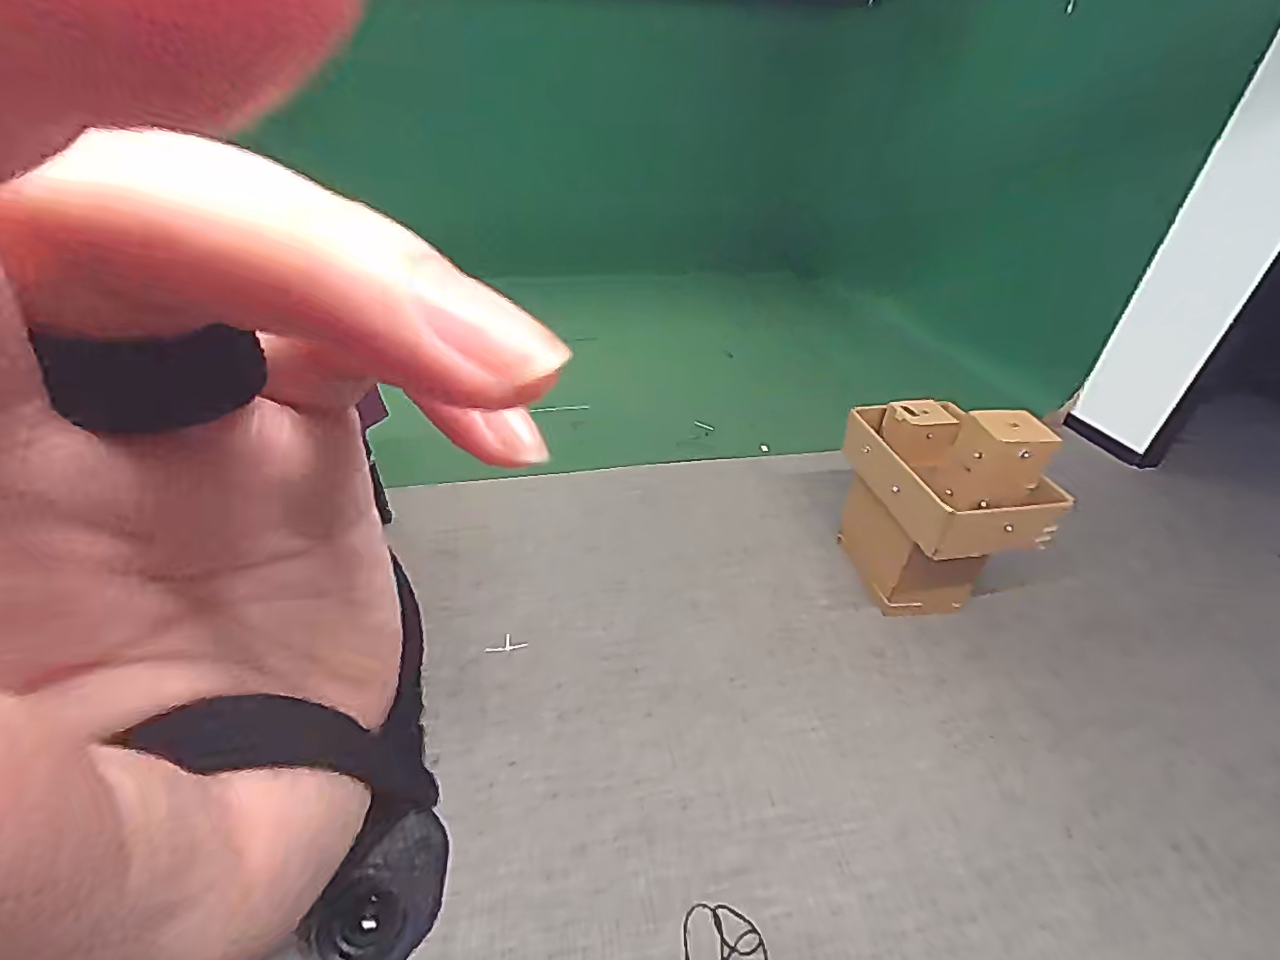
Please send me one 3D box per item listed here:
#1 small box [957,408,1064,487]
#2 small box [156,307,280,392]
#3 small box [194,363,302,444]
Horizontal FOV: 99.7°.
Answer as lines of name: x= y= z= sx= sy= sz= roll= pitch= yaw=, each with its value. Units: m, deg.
small box: x=1.037 y=-0.092 z=1.539 sx=0.179 sy=0.176 sz=0.168 roll=0 pitch=37 yaw=-3
small box: x=-1.089 y=-0.343 z=1.417 sx=0.179 sy=0.176 sz=0.168 roll=-5 pitch=36 yaw=-7
small box: x=-1.084 y=-0.210 z=1.515 sx=0.168 sy=0.176 sz=0.179 roll=-6 pitch=36 yaw=-9
